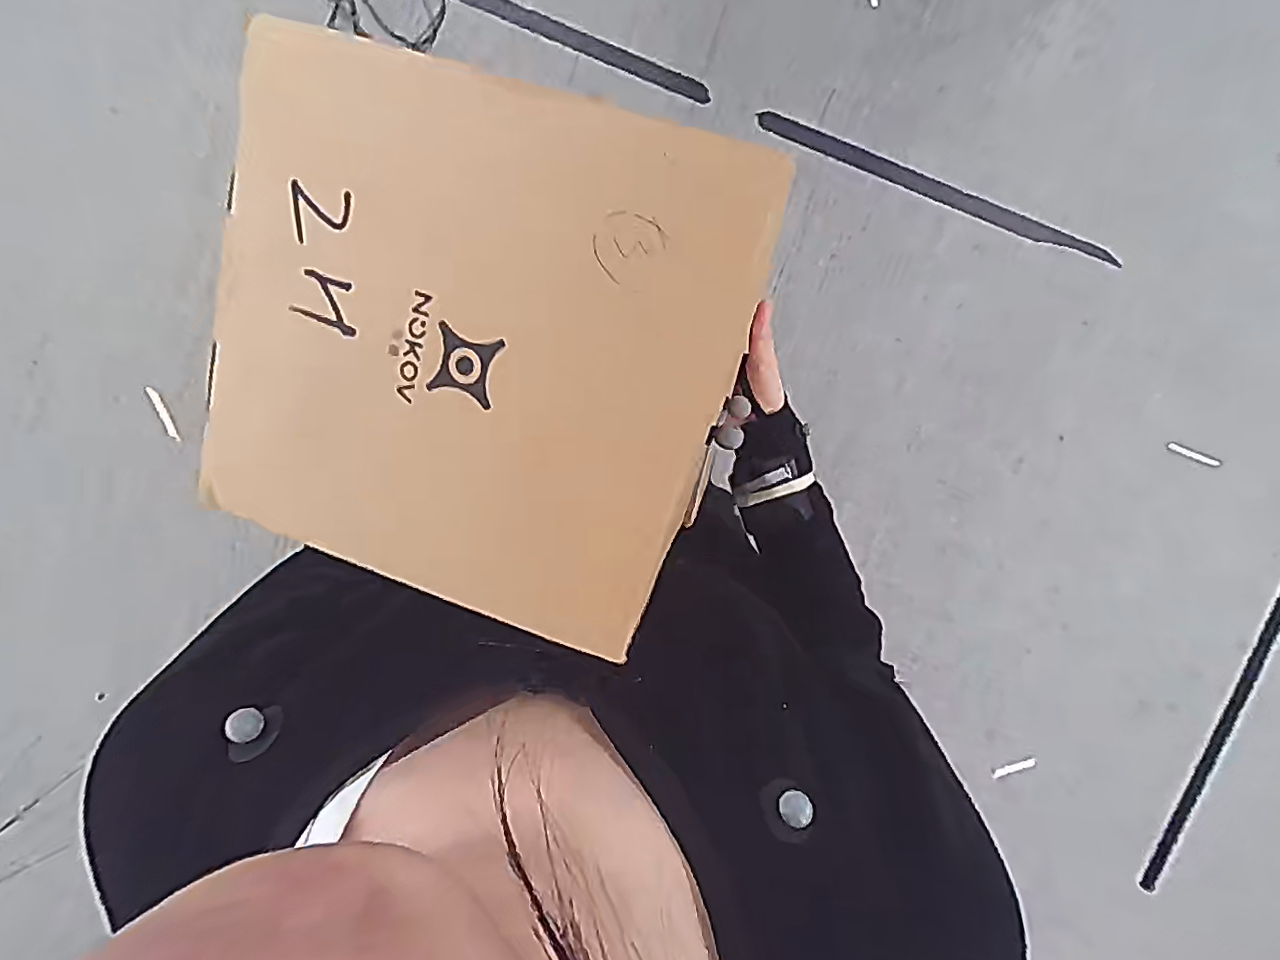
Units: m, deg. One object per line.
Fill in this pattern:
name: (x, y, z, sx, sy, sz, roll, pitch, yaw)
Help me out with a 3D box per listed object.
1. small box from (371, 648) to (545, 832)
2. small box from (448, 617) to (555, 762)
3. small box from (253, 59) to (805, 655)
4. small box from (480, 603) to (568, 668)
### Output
small box: (-0.261, 0.376, 0.817, 0.179, 0.176, 0.168, 19, 95, -1)
small box: (-0.257, 0.368, 0.981, 0.168, 0.176, 0.179, 13, 95, -1)
small box: (-0.039, -0.054, 0.263, 0.179, 0.176, 0.168, 19, 108, 7)
small box: (-0.257, 0.338, 1.141, 0.179, 0.176, 0.168, 28, 94, -2)
